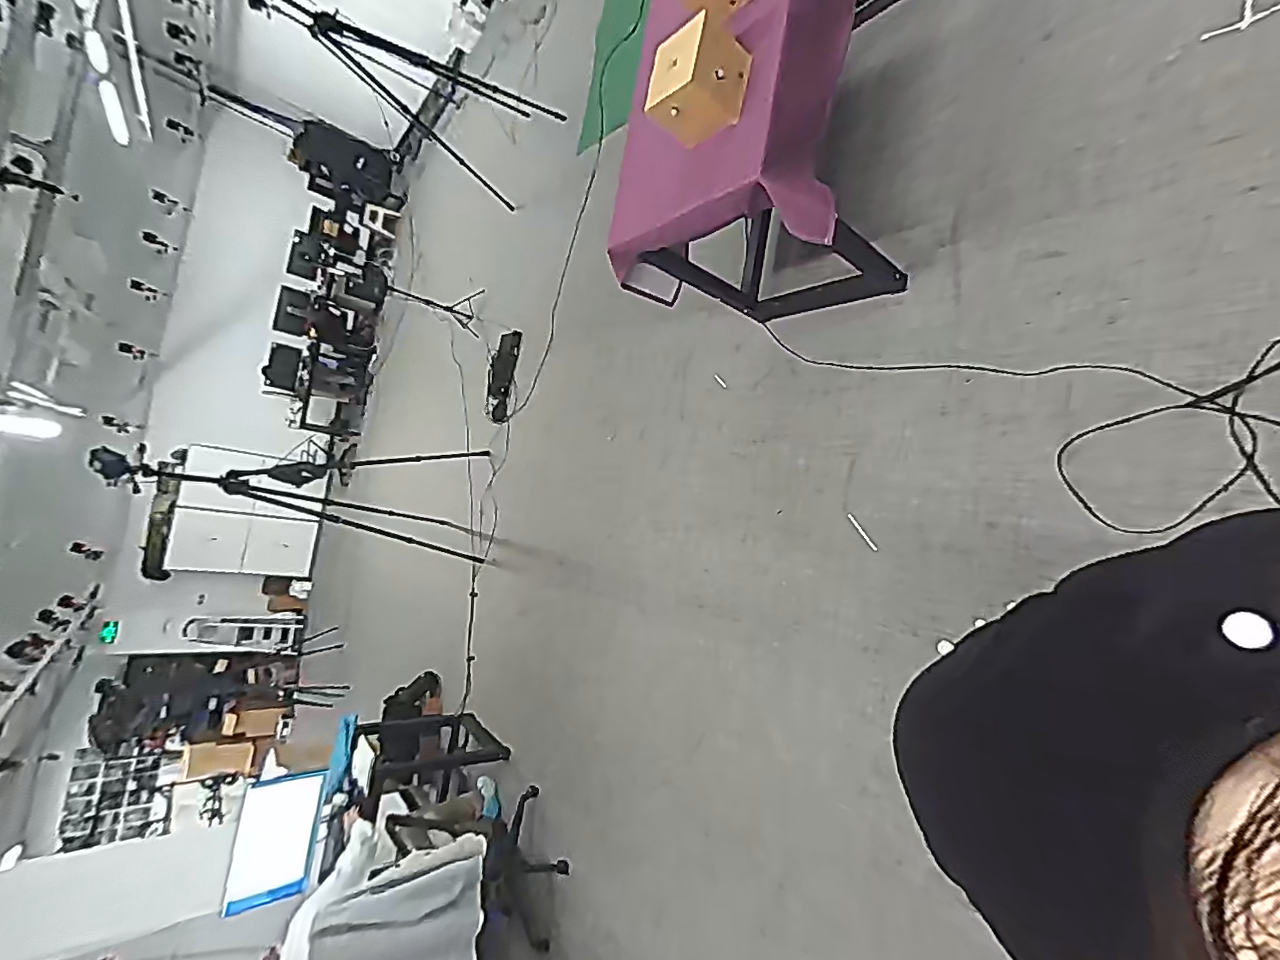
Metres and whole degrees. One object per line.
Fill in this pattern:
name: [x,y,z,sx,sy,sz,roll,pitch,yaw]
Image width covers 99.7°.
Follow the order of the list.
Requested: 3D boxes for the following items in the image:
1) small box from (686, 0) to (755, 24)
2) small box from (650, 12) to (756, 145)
small box: [0.209,-1.293,1.342,0.168,0.176,0.179,9,87,52]
small box: [0.156,-0.963,1.317,0.179,0.176,0.168,12,90,53]
